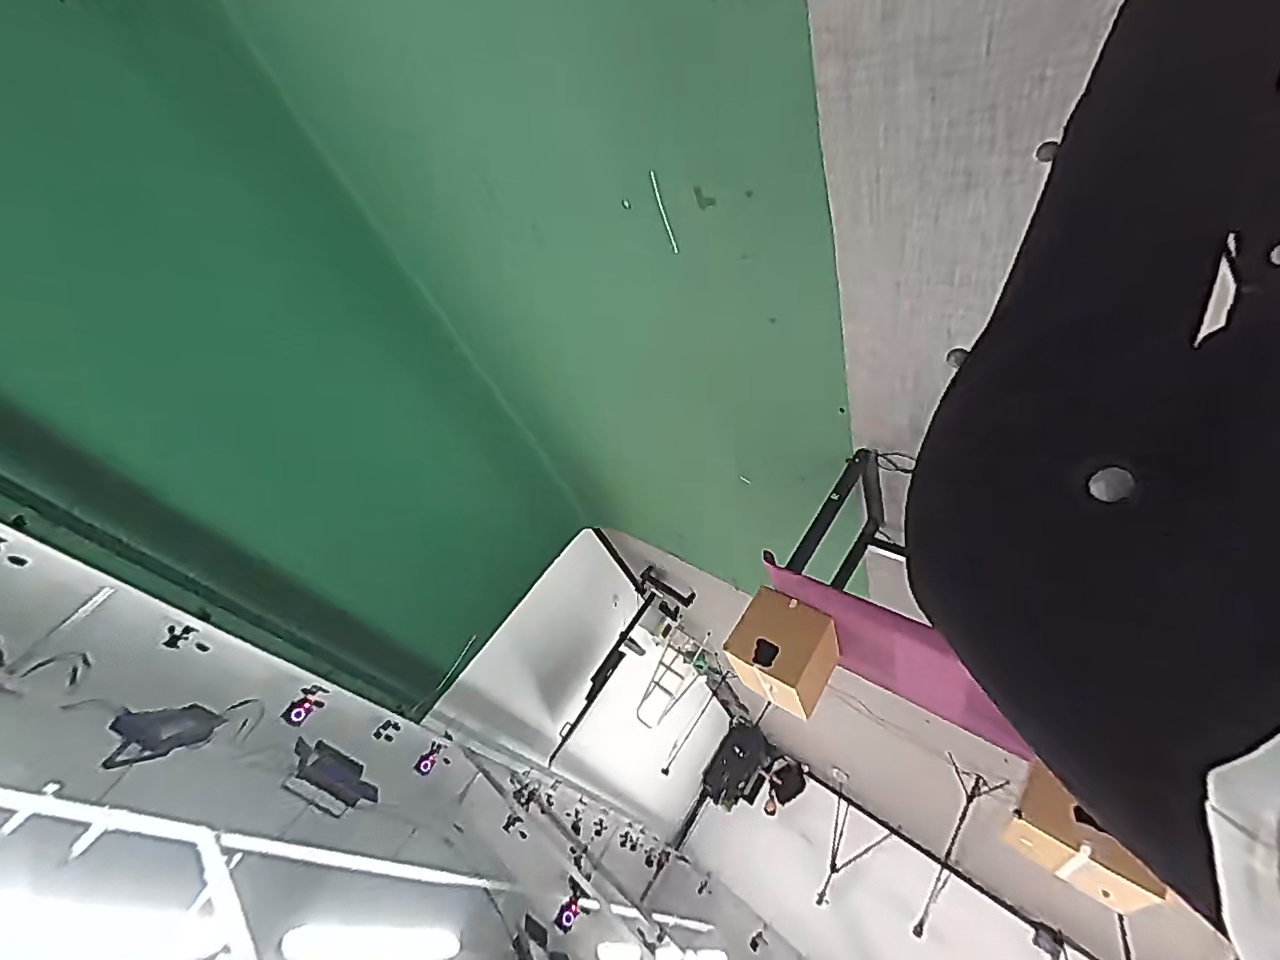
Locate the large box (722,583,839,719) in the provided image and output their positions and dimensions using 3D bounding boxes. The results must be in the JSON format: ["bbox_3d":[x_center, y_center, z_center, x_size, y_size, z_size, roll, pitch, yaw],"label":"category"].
[{"bbox_3d":[0.579,0.686,2.179,0.320,0.320,0.408,20,152,37],"label":"large box"}]
